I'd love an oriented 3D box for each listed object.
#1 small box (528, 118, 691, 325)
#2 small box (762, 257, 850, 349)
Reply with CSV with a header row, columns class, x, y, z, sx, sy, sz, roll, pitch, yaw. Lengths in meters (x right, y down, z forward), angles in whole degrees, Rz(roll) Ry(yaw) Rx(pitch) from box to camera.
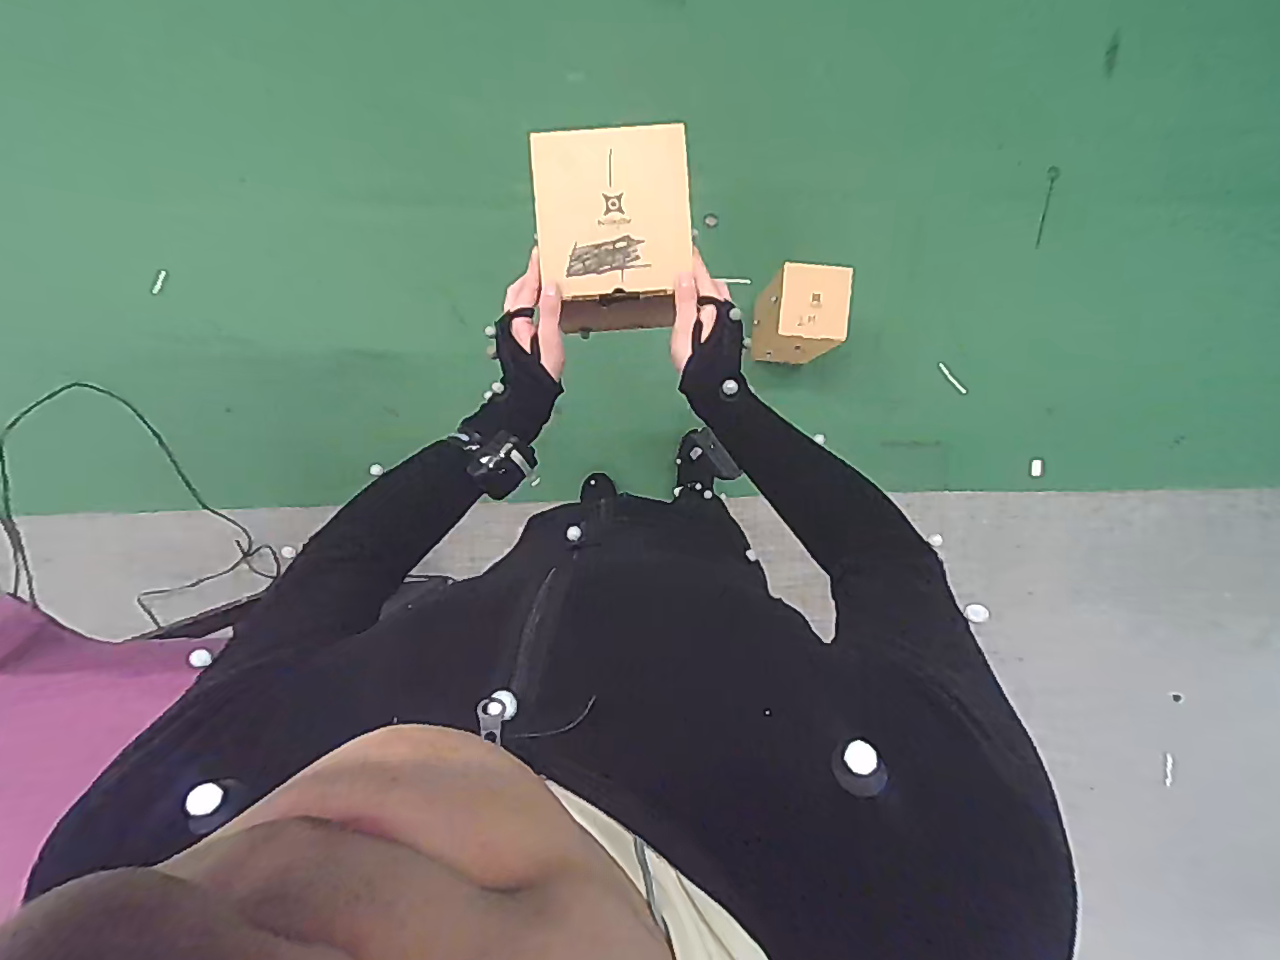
class,x,y,z,sx,sy,sz,roll,pitch,yaw
small box,-0.031,-0.290,0.646,0.168,0.176,0.179,-4,93,-1
small box,0.412,-0.441,1.367,0.168,0.176,0.179,5,93,0
